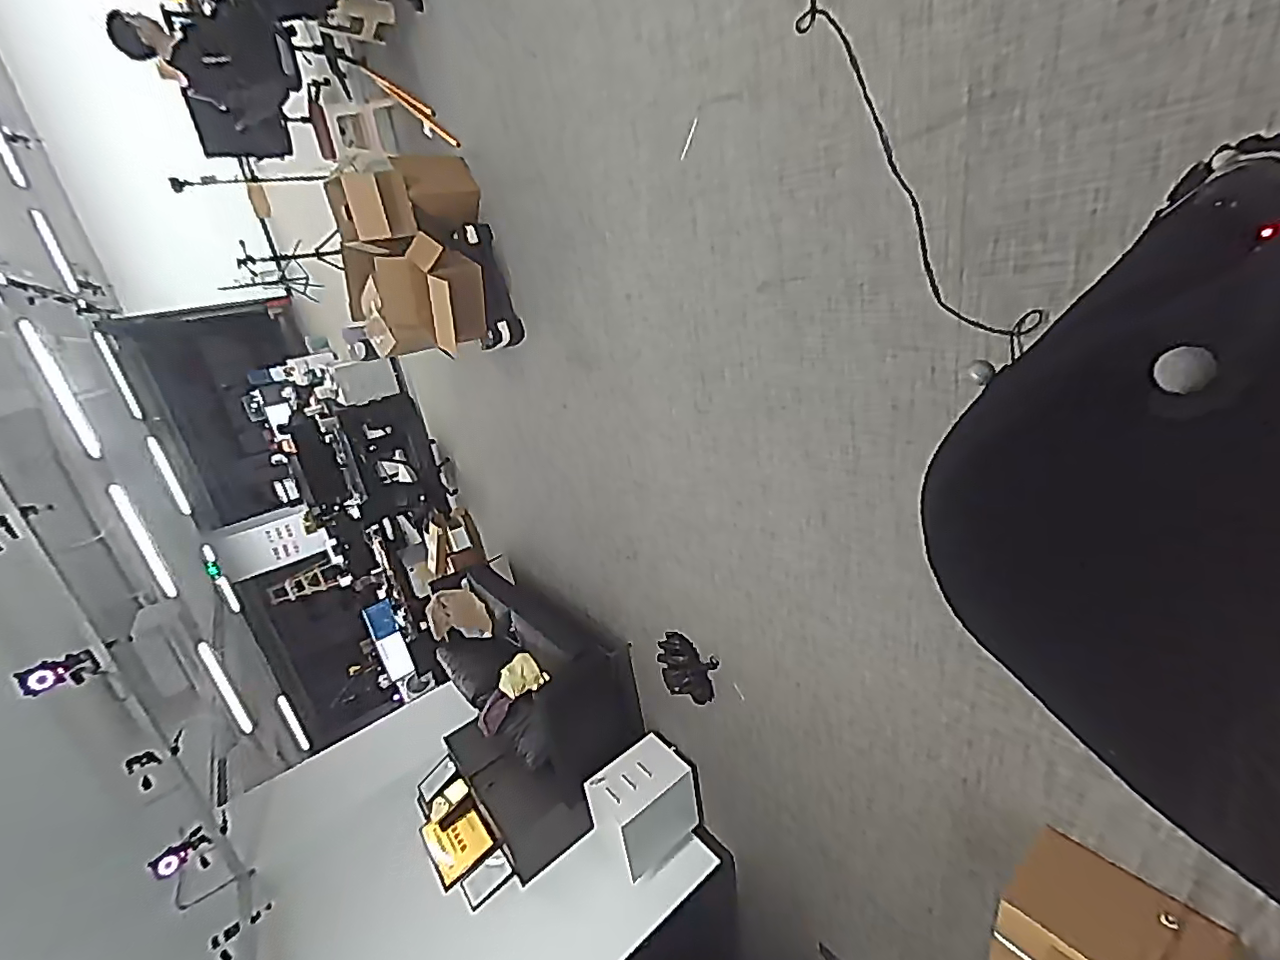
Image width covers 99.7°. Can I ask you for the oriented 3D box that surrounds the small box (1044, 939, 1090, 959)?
[{"bbox_3d":[1.084,1.301,1.328,0.168,0.176,0.179,13,120,52],"label":"small box"}]
